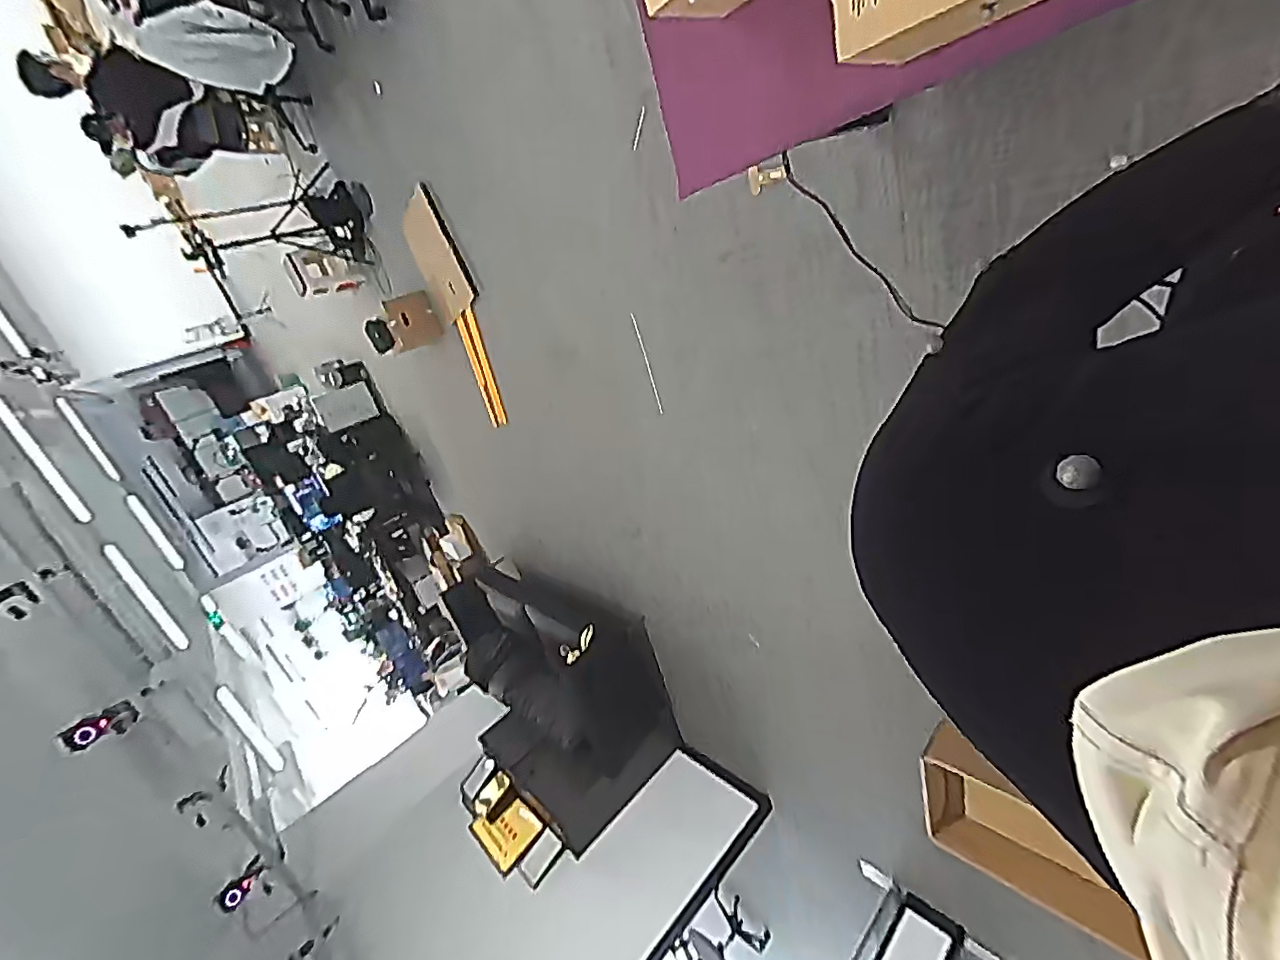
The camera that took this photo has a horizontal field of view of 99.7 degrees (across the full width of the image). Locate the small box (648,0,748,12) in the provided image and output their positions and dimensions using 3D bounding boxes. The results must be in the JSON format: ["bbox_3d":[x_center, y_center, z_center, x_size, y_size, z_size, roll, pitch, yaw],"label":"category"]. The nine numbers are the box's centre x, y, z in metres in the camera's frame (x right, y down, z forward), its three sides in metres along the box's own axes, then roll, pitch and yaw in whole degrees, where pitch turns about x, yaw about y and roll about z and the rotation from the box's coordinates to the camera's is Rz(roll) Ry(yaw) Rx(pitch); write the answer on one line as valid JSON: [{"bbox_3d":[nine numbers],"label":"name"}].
[{"bbox_3d":[0.104,-0.765,0.718,0.168,0.176,0.179,11,125,50],"label":"small box"}]
